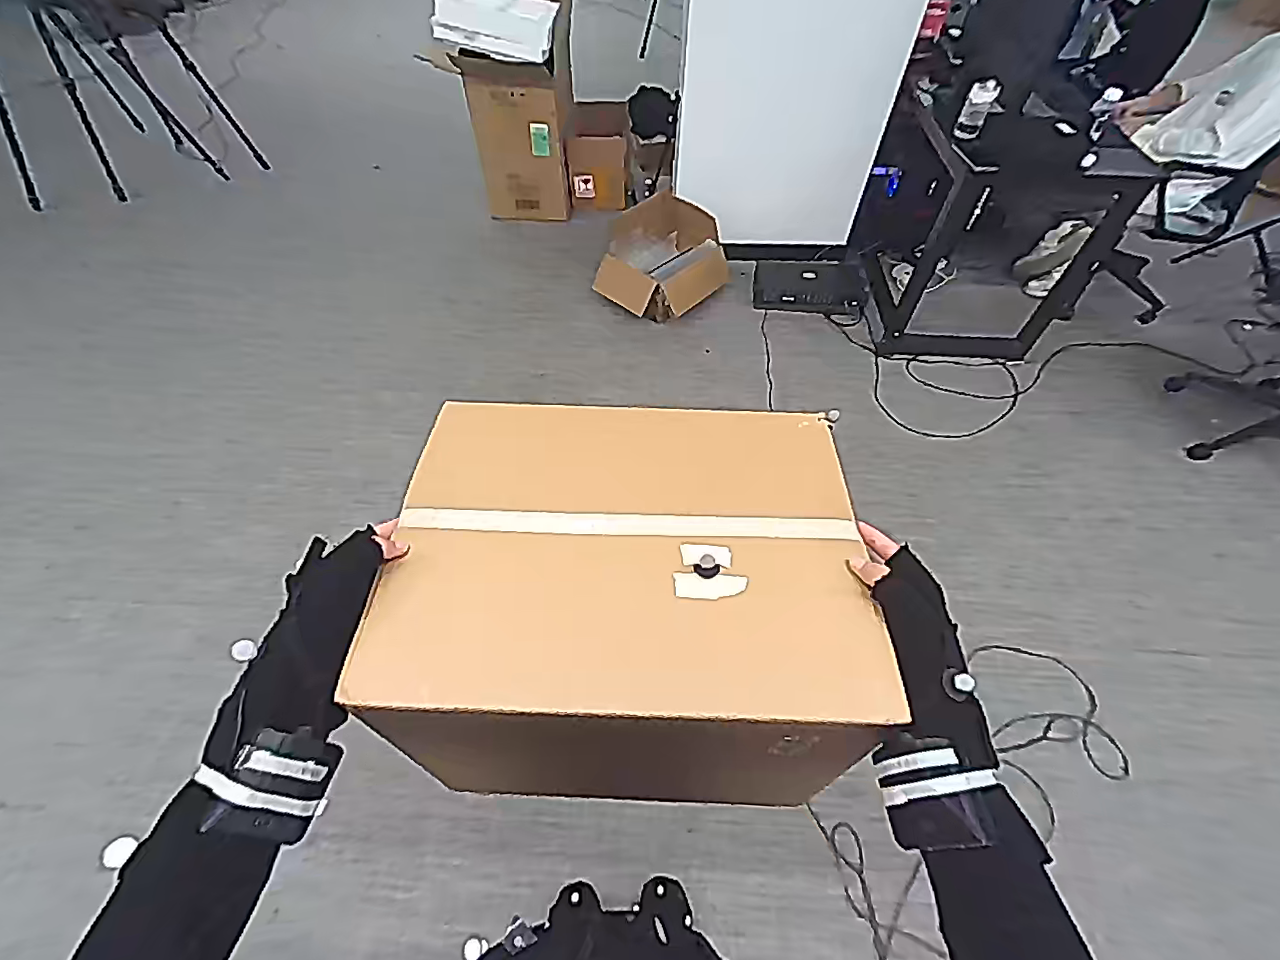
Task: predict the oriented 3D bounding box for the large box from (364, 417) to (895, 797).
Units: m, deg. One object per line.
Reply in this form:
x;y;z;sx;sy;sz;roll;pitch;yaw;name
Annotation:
-0.009;0.148;0.606;0.408;0.320;0.320;2;50;0;large box
